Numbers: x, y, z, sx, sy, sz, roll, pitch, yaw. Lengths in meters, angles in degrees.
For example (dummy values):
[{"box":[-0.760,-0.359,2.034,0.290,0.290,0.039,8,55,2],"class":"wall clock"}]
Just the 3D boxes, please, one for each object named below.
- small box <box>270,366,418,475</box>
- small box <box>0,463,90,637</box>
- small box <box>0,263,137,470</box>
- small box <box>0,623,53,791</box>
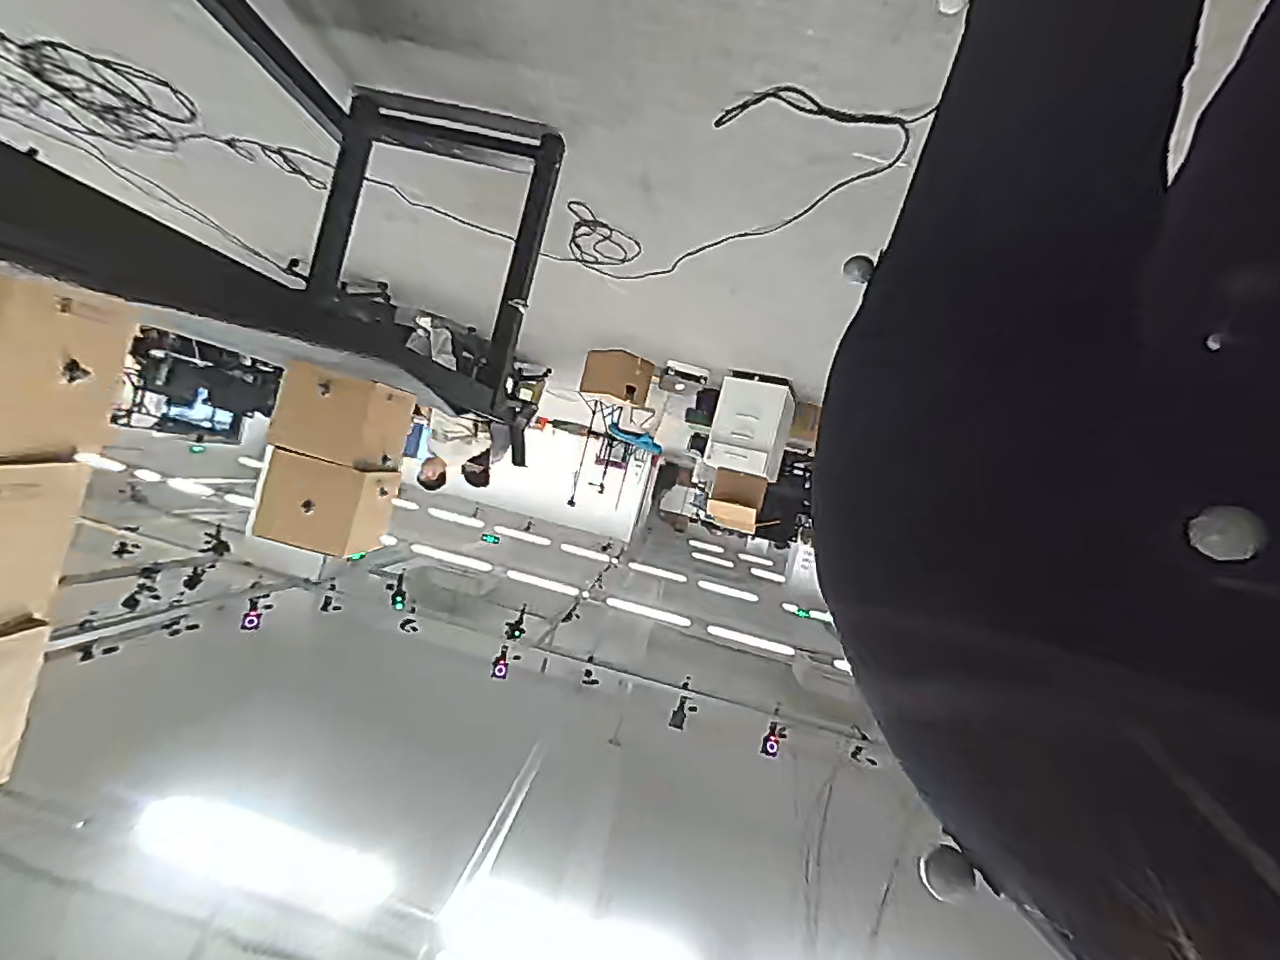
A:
[{"box":[-0.572,-0.116,1.066,0.179,0.176,0.168,16,180,4],"class":"small box"},{"box":[-0.639,0.043,0.466,0.179,0.176,0.168,17,179,-12],"class":"small box"},{"box":[-0.605,-0.116,0.484,0.179,0.176,0.168,17,180,-17],"class":"small box"},{"box":[-0.678,0.203,0.459,0.179,0.176,0.168,15,180,-6],"class":"small box"}]
